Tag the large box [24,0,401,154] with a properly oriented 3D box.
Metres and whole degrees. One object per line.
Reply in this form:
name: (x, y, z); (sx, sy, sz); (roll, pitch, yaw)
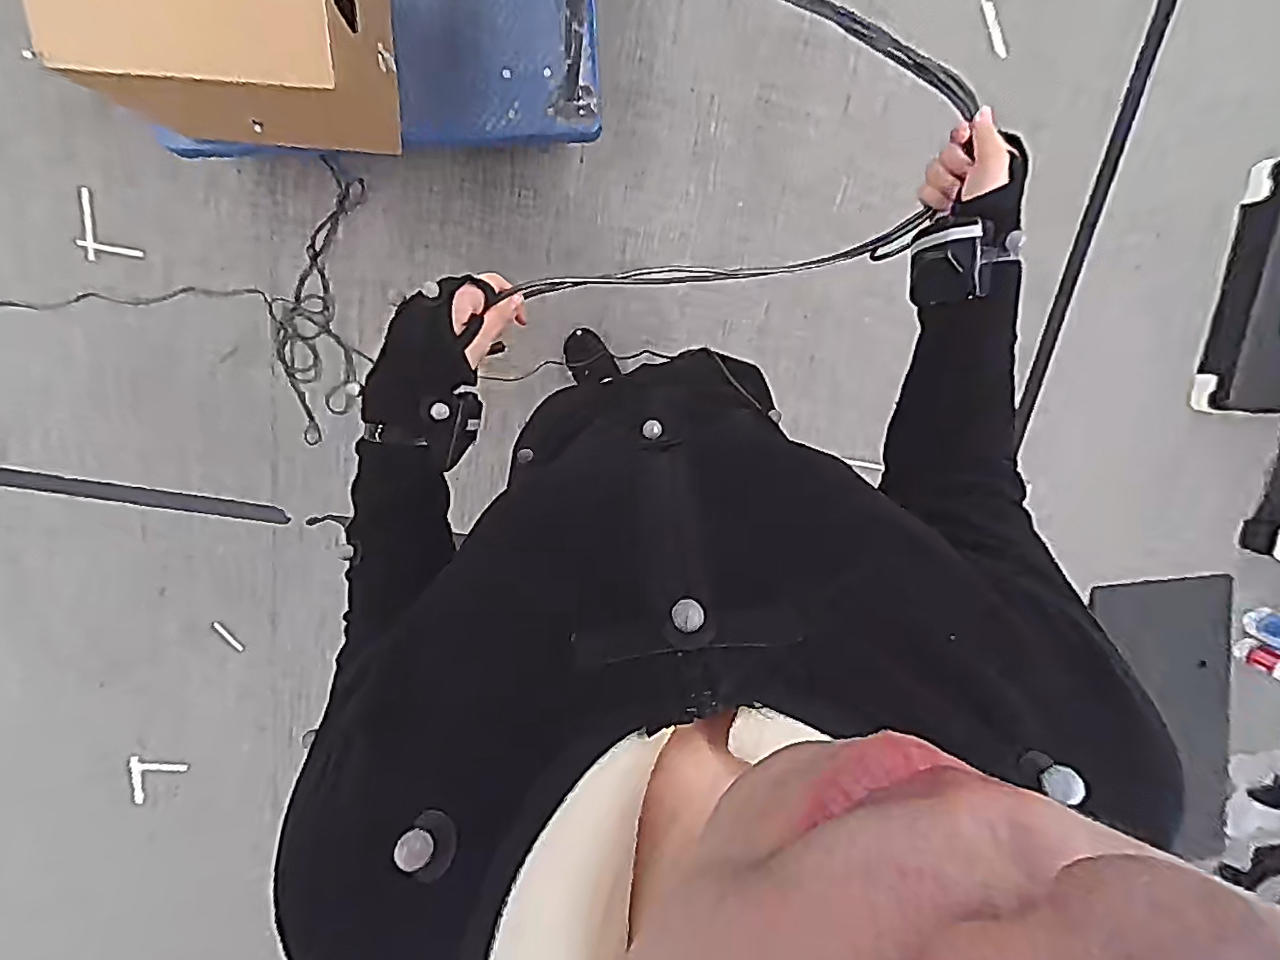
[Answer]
large box: (-0.659, -0.758, 0.889); (0.408, 0.320, 0.320); (0, 104, -6)
